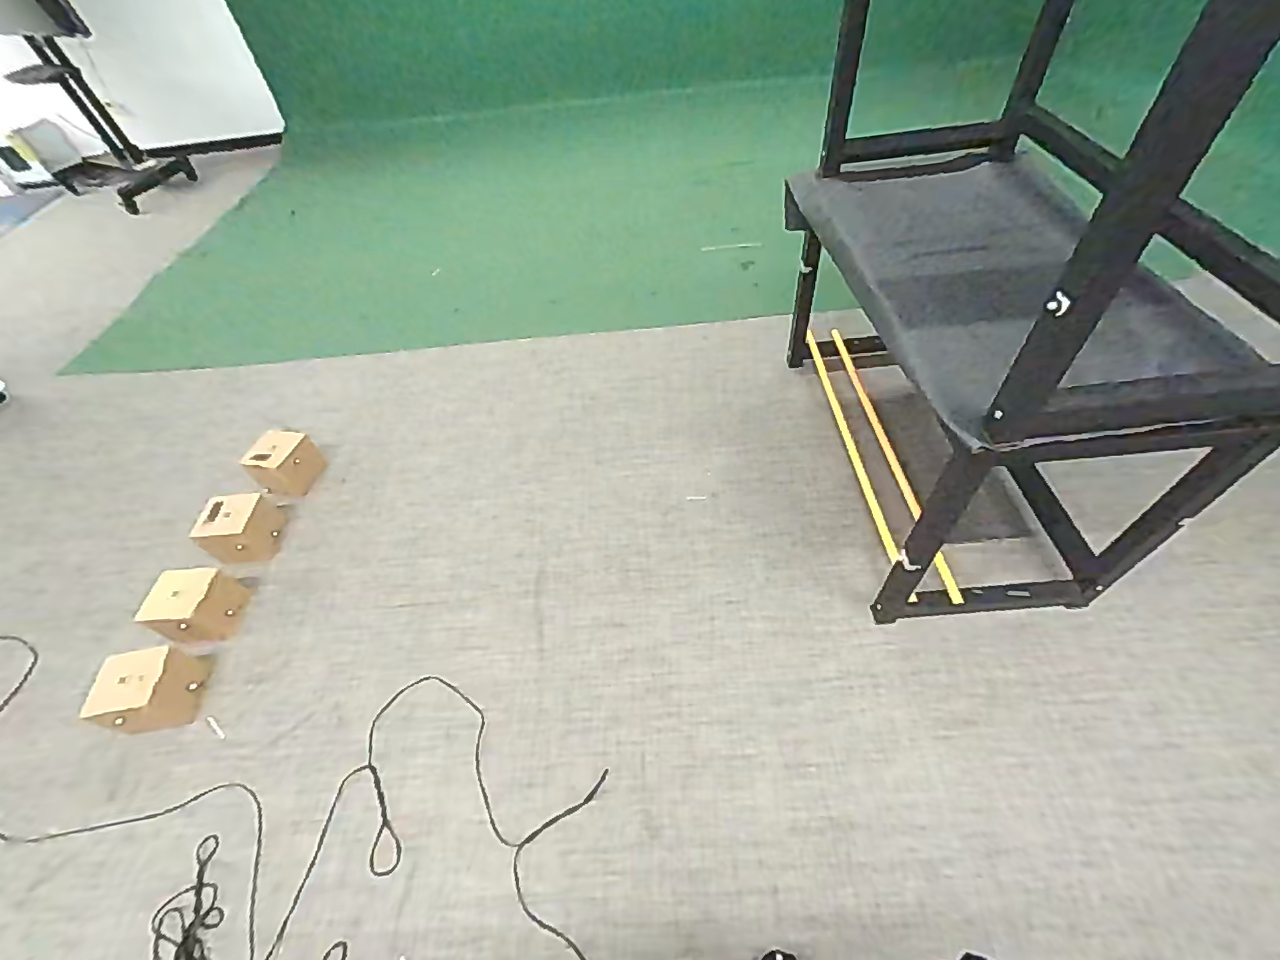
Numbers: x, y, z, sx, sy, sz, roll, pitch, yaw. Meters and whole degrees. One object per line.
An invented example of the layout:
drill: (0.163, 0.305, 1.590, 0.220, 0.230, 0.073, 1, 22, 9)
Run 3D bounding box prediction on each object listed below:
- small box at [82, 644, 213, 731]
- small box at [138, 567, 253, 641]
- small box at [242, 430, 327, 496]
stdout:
small box: (-1.344, 0.576, 1.491, 0.179, 0.176, 0.168, -10, 51, -2)
small box: (-1.348, 0.383, 1.653, 0.179, 0.176, 0.168, -4, 51, 3)
small box: (-1.311, -0.060, 2.011, 0.168, 0.176, 0.179, 7, 51, 12)
